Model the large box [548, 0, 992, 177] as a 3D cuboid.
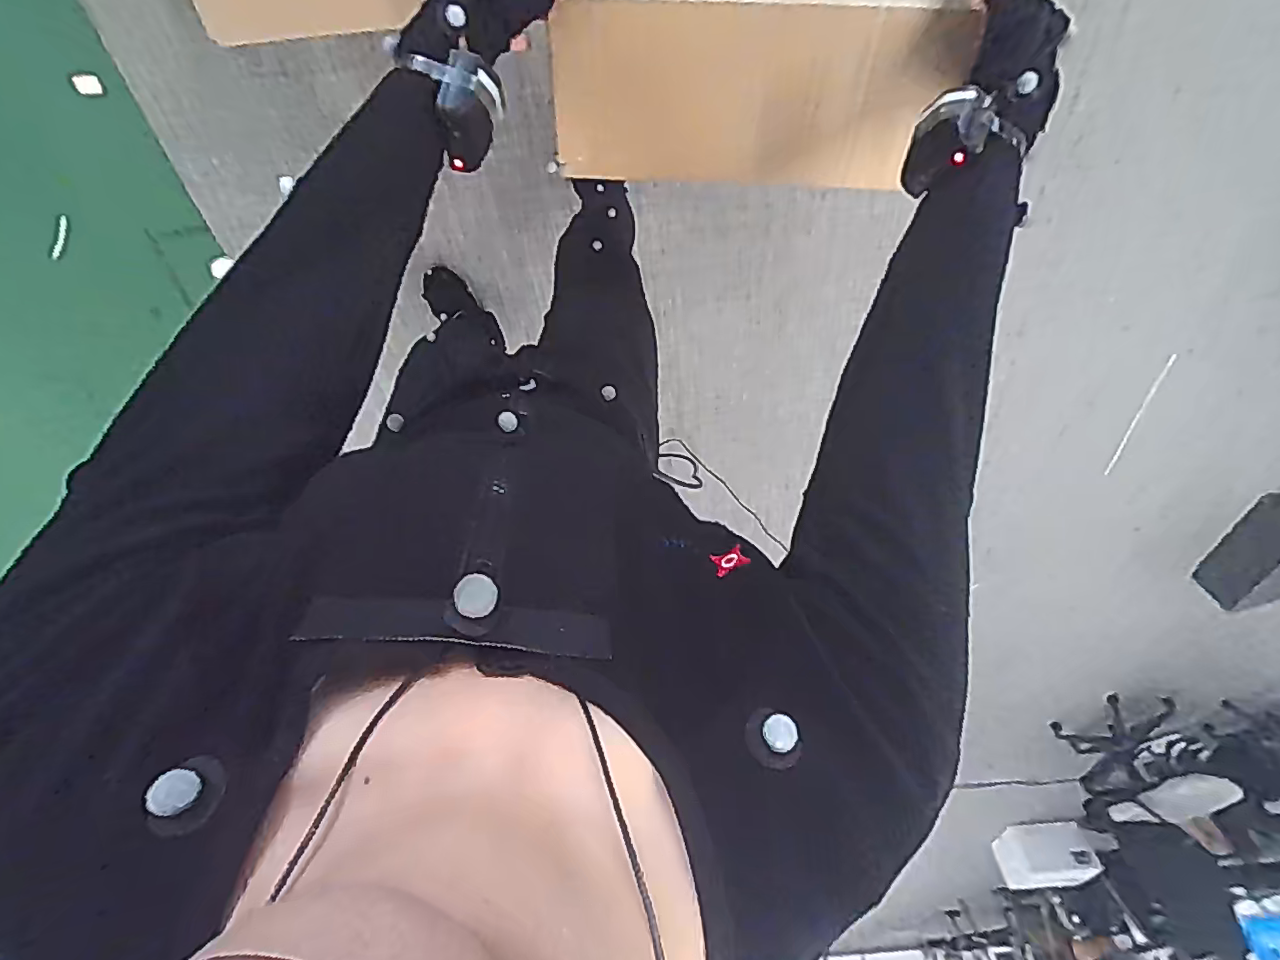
[{"bbox_3d":[0.122,-0.544,0.576,0.408,0.320,0.320,3,134,1],"label":"large box"}]
